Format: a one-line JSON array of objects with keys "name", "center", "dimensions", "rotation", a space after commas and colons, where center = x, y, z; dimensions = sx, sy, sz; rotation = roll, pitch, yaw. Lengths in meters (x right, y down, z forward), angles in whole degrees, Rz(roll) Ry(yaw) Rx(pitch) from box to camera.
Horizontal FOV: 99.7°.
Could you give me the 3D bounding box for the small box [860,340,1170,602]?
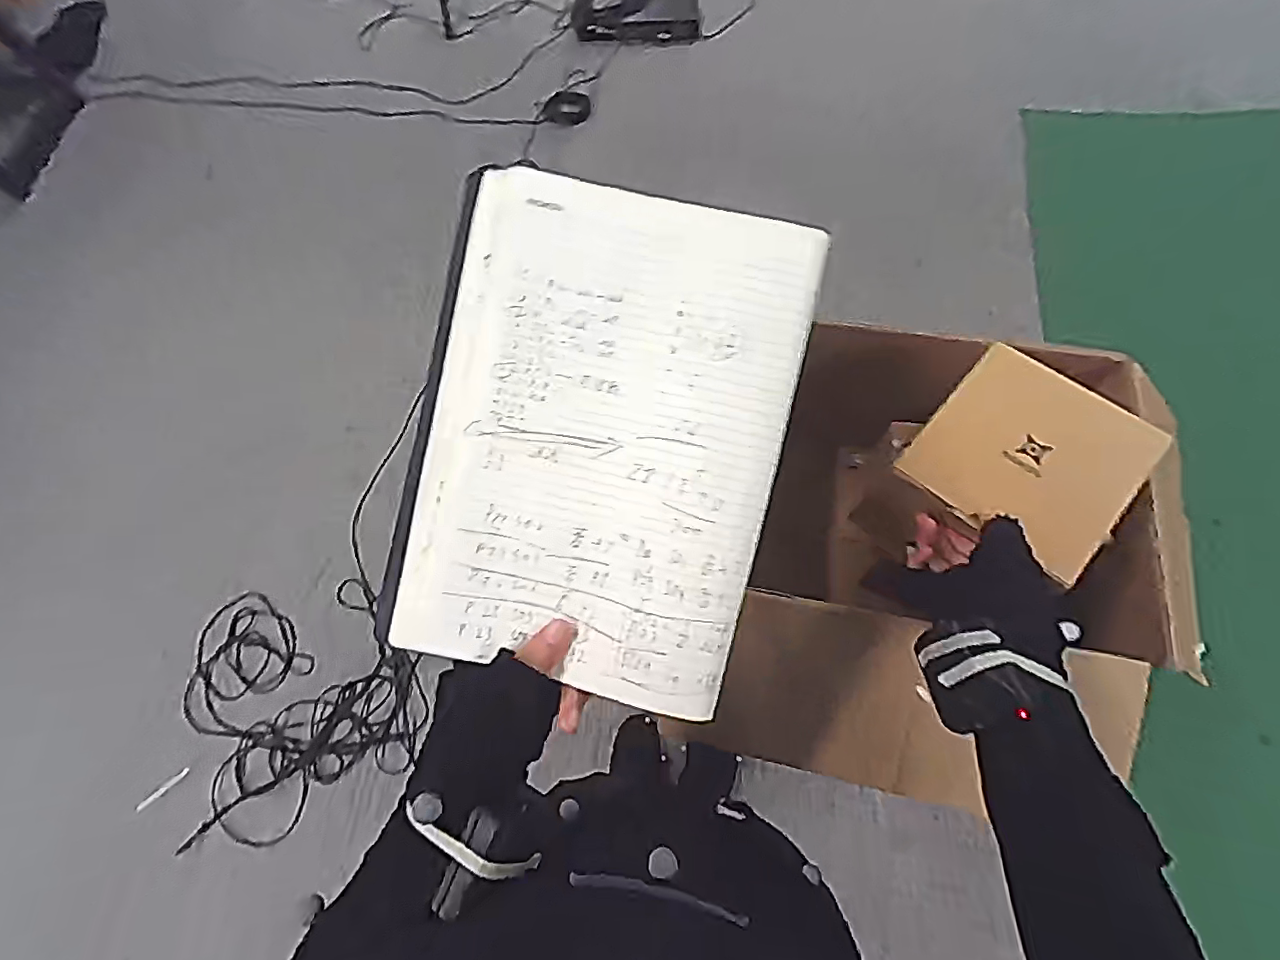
[{"name": "small box", "center": [0.357, 0.001, 0.554], "dimensions": [0.168, 0.176, 0.179], "rotation": [39, 78, 18]}]
